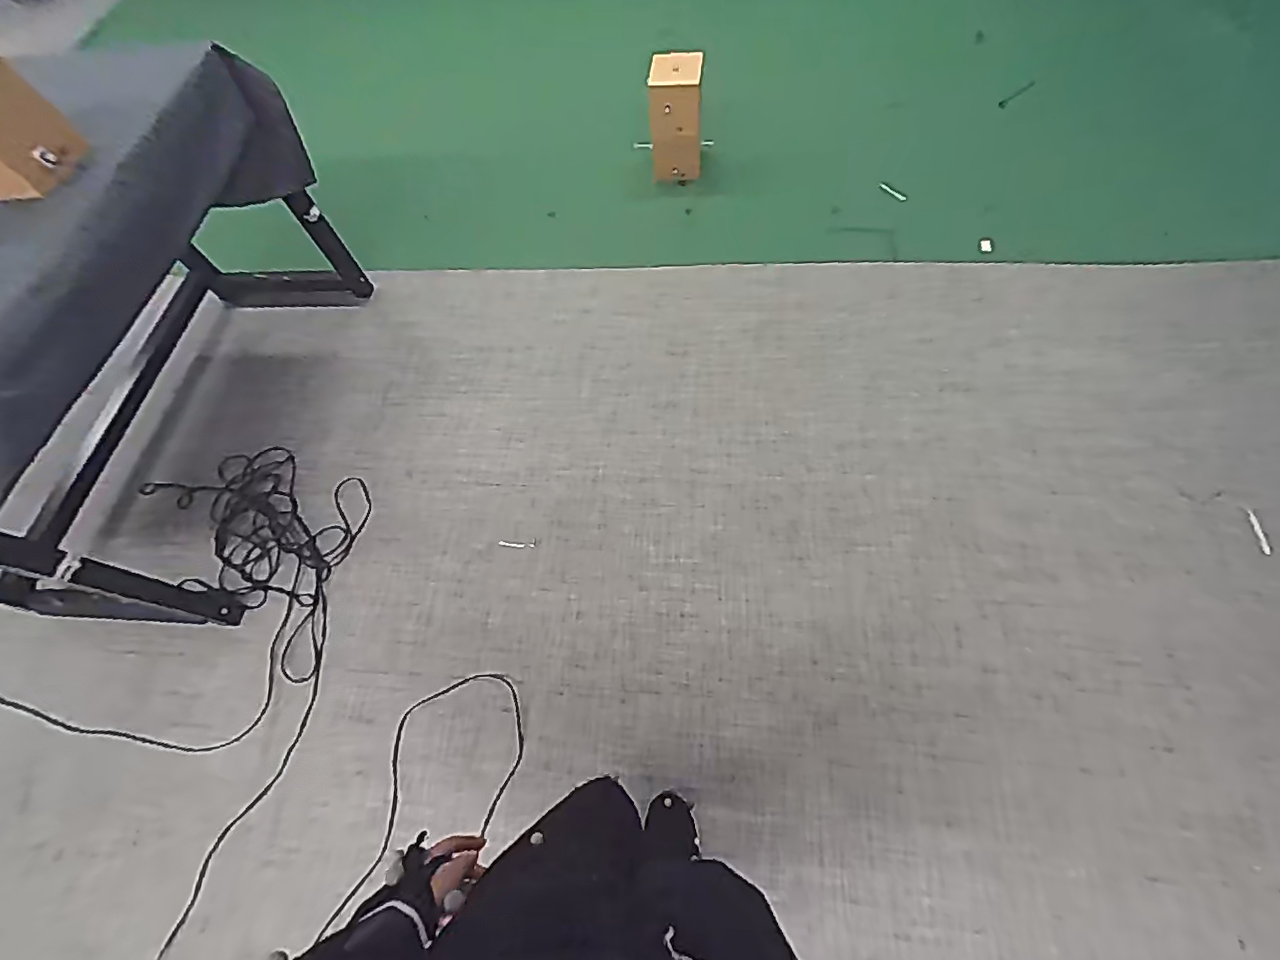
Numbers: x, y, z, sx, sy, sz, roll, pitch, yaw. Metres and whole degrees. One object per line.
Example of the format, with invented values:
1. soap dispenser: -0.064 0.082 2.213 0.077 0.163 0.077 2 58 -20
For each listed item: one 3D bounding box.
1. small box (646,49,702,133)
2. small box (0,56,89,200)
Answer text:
1. small box: 0.119 -1.286 1.798 0.168 0.176 0.179 3 64 8
2. small box: -1.203 -0.640 0.994 0.179 0.176 0.168 3 65 7
